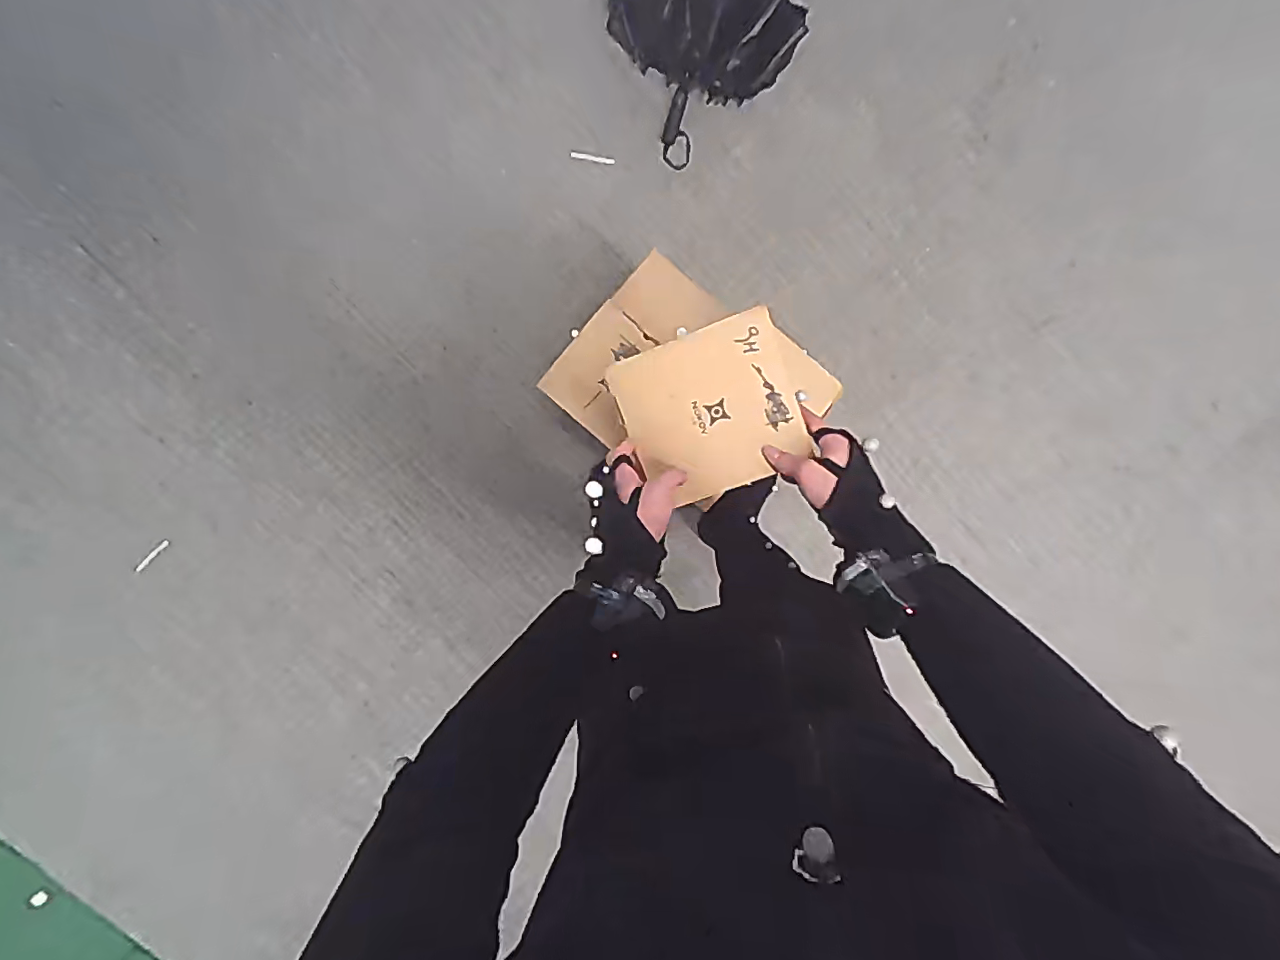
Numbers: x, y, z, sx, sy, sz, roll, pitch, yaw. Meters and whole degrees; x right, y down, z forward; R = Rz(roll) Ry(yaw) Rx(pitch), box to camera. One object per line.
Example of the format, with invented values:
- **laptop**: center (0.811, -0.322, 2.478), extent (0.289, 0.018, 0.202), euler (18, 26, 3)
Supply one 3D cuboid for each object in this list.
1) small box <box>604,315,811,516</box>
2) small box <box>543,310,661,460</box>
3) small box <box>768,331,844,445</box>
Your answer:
- **small box**: center (0.079, -0.077, 0.636), extent (0.179, 0.176, 0.168), euler (-20, 100, 10)
- **small box**: center (-0.041, -0.163, 0.924), extent (0.168, 0.176, 0.179), euler (41, 98, -8)
- **small box**: center (0.208, -0.132, 0.941), extent (0.179, 0.176, 0.168), euler (37, 92, -6)
